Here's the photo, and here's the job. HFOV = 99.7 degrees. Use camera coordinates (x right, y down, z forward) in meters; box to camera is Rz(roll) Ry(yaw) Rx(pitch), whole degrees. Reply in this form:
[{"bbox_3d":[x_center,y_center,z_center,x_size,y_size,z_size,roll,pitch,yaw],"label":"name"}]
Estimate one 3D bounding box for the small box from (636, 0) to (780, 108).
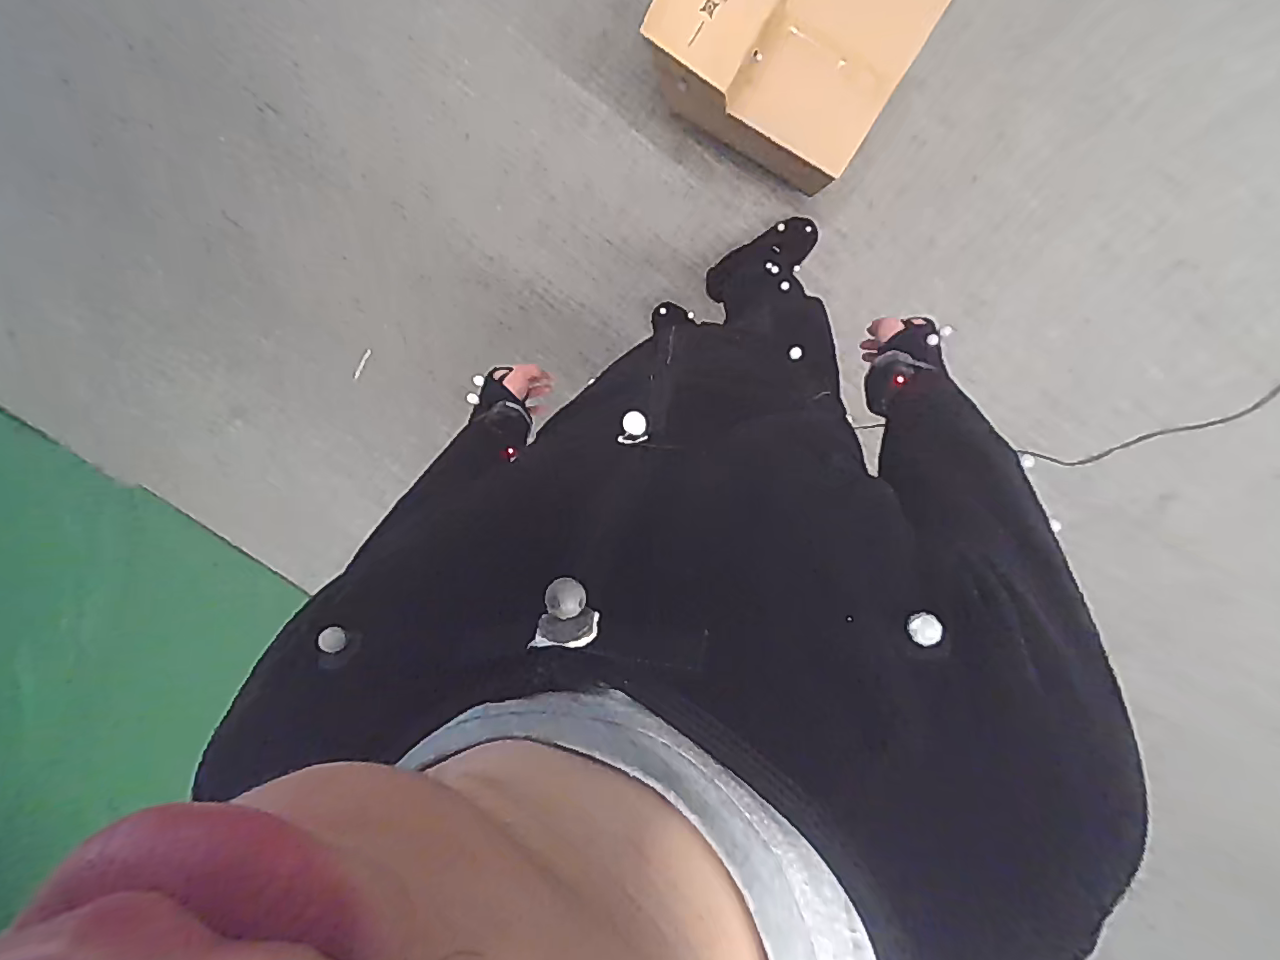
[{"bbox_3d":[0.114,-0.747,0.869,0.168,0.176,0.179,33,116,-6],"label":"small box"}]
